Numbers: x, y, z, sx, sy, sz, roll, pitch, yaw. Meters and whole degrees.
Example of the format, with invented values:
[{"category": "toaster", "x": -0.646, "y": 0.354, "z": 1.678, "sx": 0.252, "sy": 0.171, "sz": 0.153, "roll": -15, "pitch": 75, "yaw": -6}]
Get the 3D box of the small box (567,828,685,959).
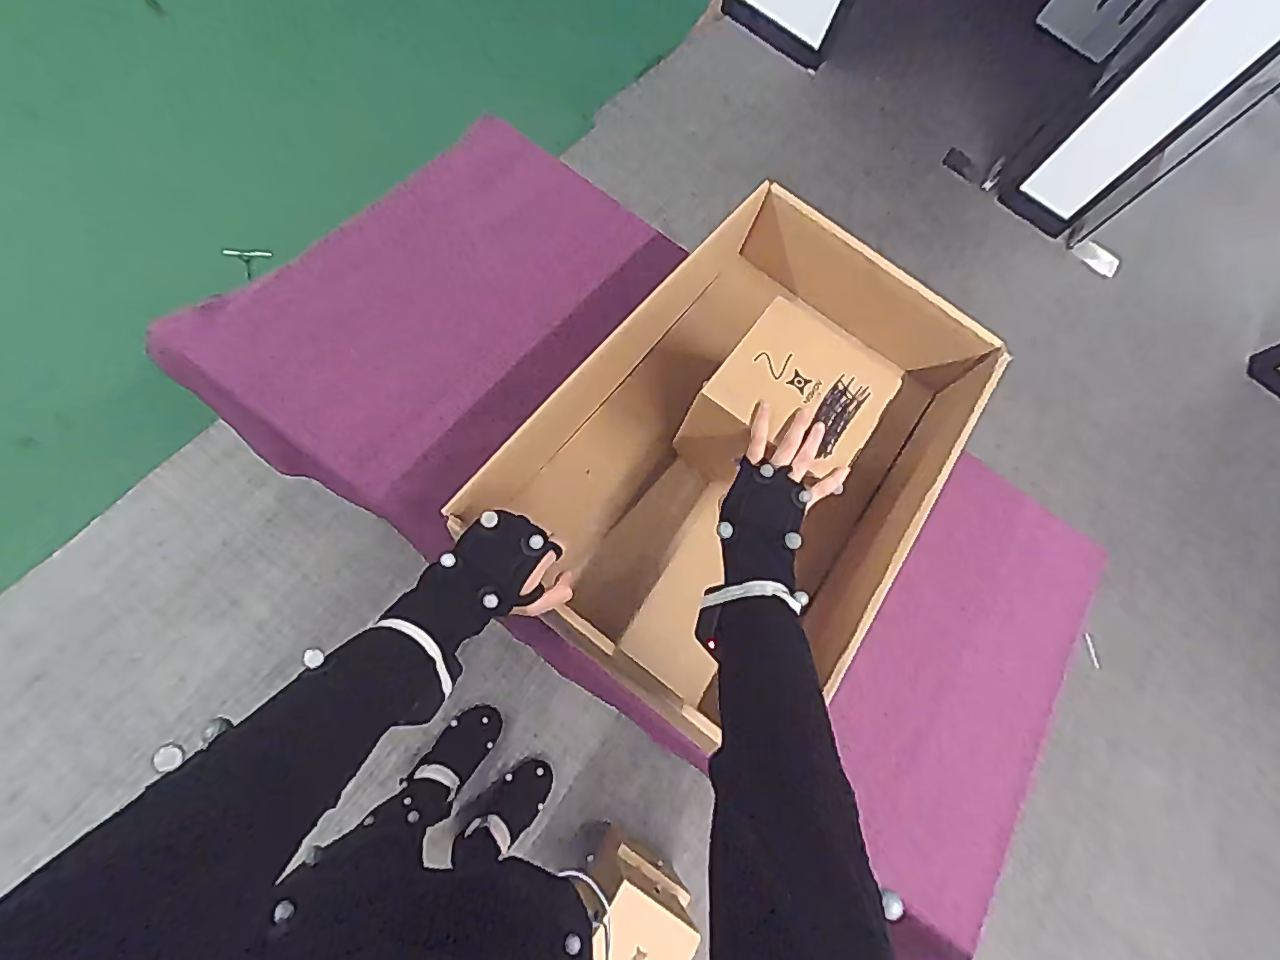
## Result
[{"category": "small box", "x": -0.035, "y": 0.871, "z": 1.133, "sx": 0.179, "sy": 0.176, "sz": 0.168, "roll": 36, "pitch": 68, "yaw": 4}]
